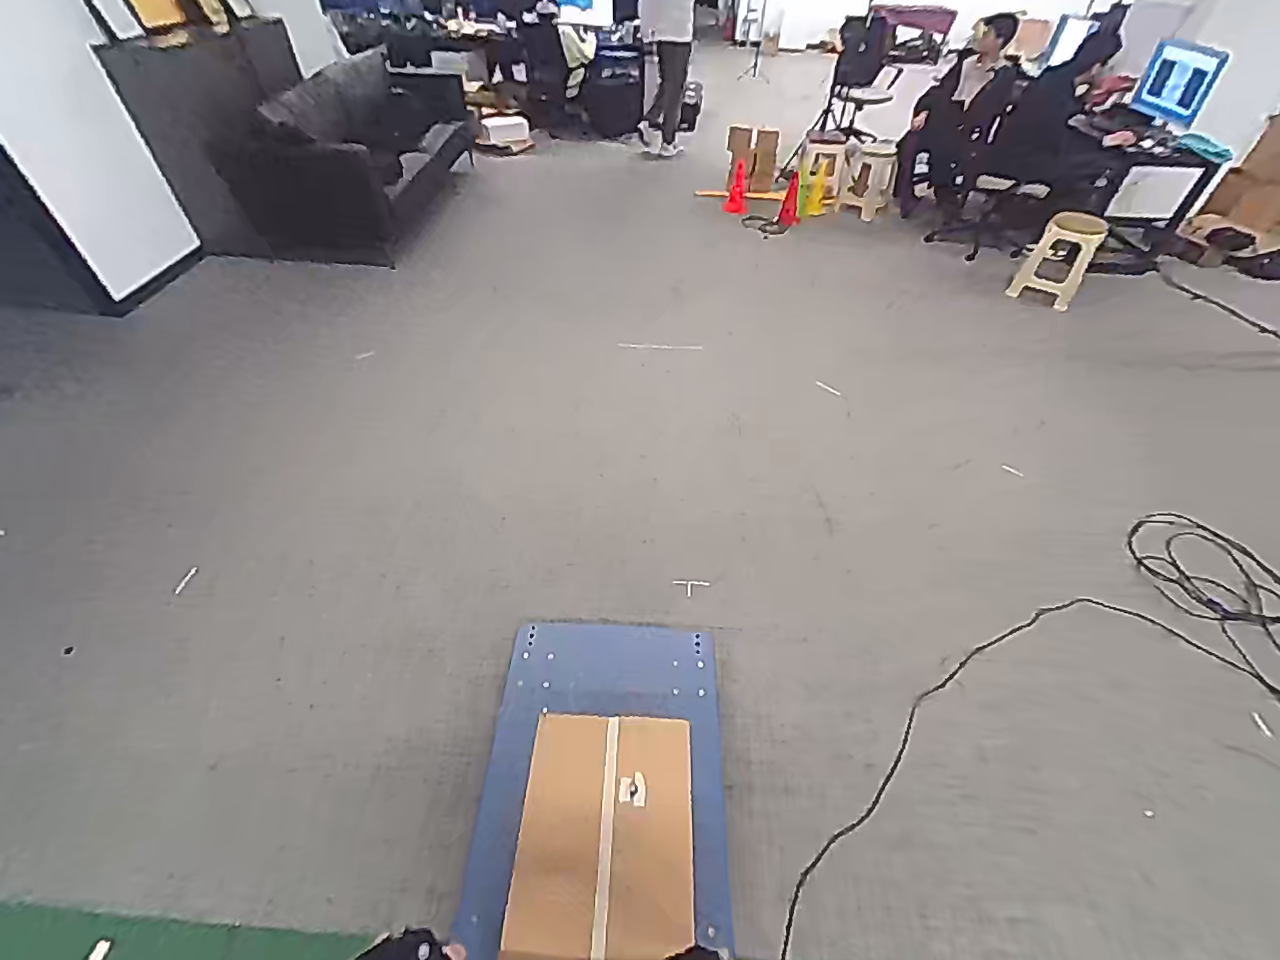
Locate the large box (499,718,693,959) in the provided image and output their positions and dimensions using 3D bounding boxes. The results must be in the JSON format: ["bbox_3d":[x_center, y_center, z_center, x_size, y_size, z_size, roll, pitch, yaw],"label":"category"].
[{"bbox_3d":[-0.070,0.745,1.083,0.320,0.320,0.408,3,44,0],"label":"large box"}]
